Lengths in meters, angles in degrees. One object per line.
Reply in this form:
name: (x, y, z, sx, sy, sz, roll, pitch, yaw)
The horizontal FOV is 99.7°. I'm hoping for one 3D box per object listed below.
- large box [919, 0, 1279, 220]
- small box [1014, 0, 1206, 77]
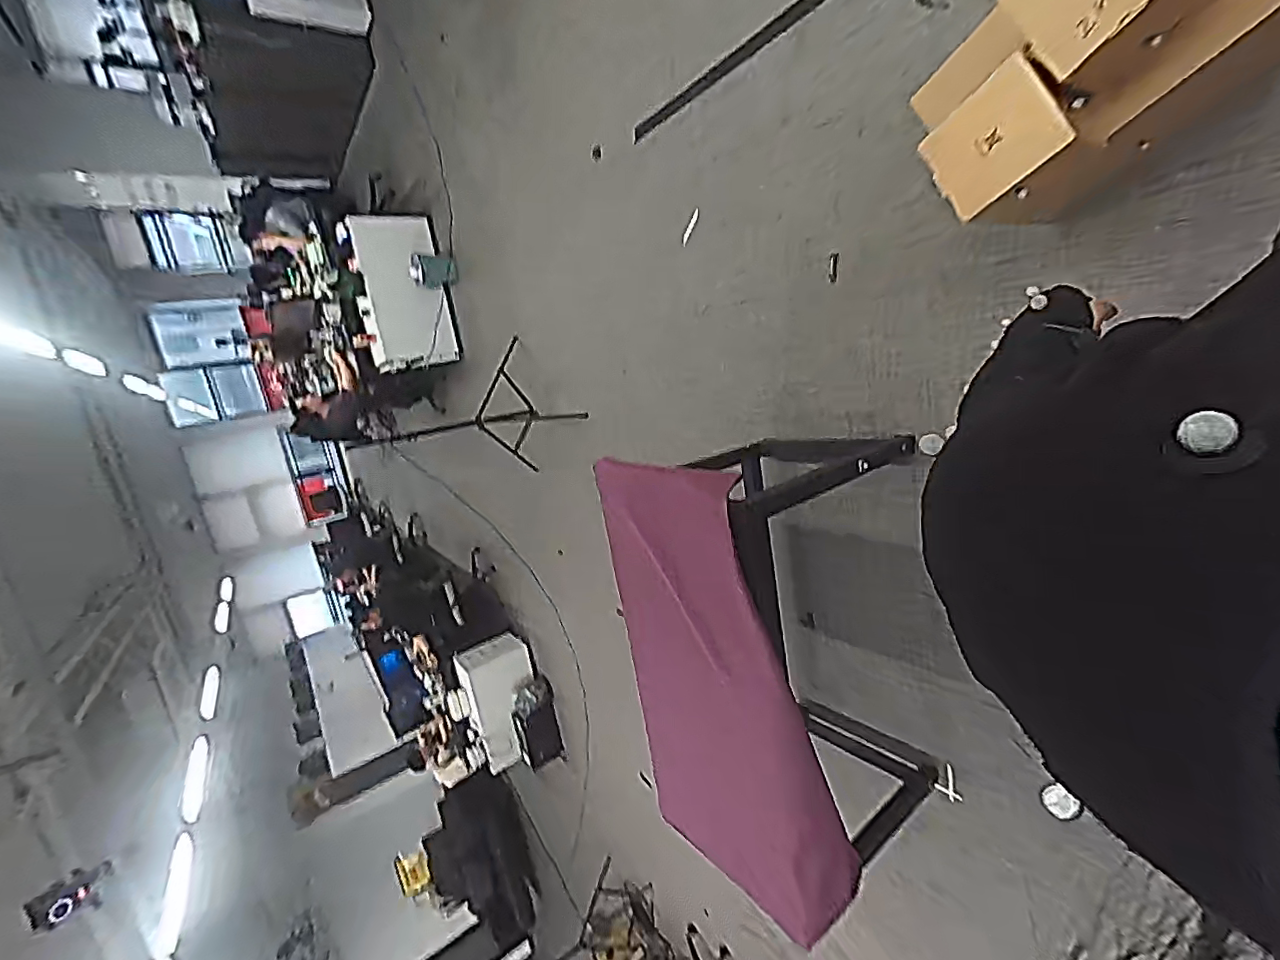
large box: (0.817, -0.737, 0.961, 0.408, 0.320, 0.320, -40, 71, 56)
small box: (0.661, -0.703, 0.752, 0.179, 0.176, 0.168, 64, 147, 10)
